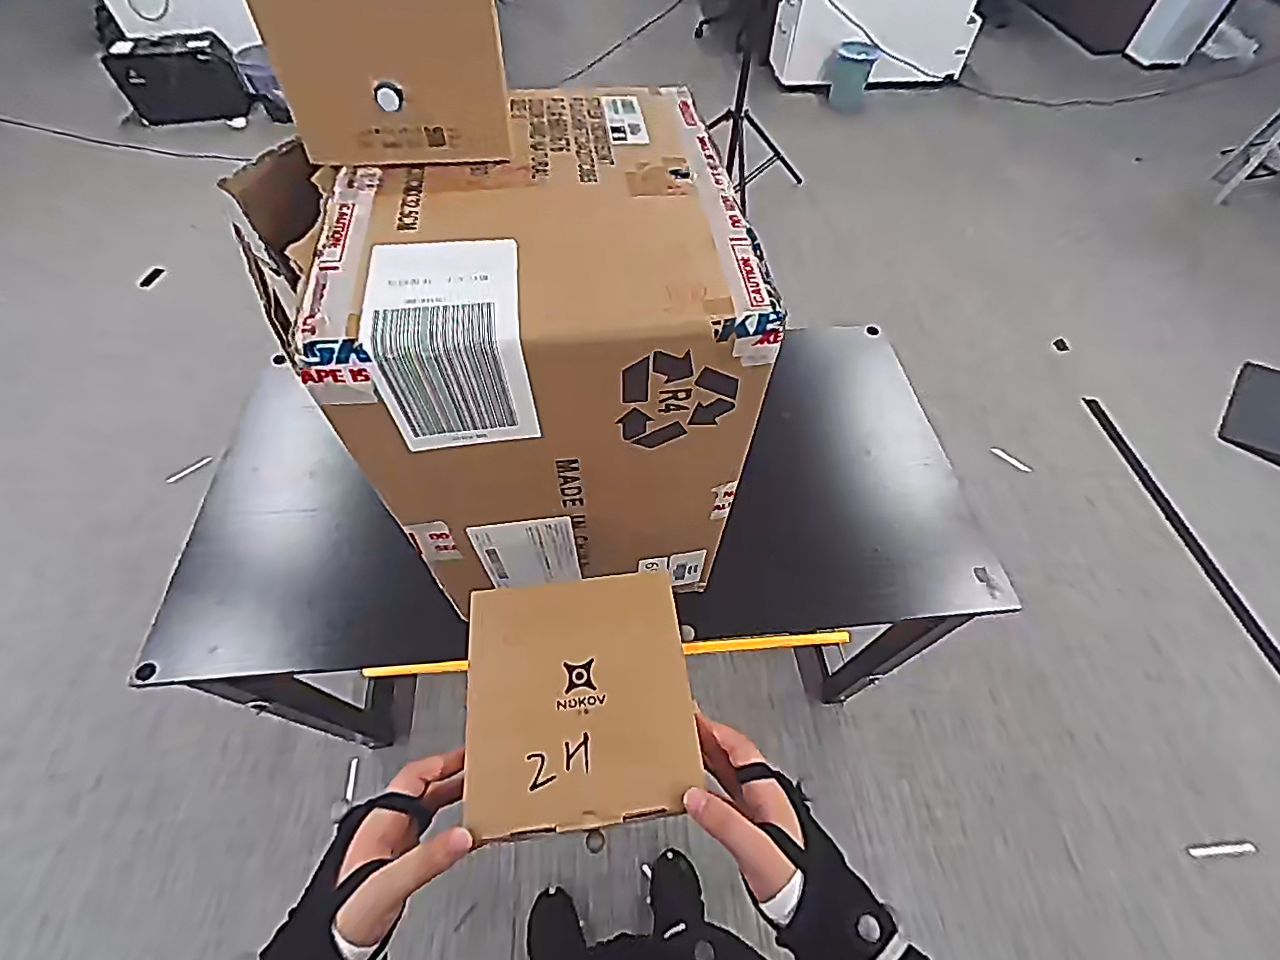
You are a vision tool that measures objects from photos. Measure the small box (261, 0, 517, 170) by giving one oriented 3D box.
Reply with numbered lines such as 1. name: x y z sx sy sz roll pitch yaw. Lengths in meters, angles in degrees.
1. small box: -0.196 -0.380 0.443 0.168 0.176 0.179 -7 55 -9
